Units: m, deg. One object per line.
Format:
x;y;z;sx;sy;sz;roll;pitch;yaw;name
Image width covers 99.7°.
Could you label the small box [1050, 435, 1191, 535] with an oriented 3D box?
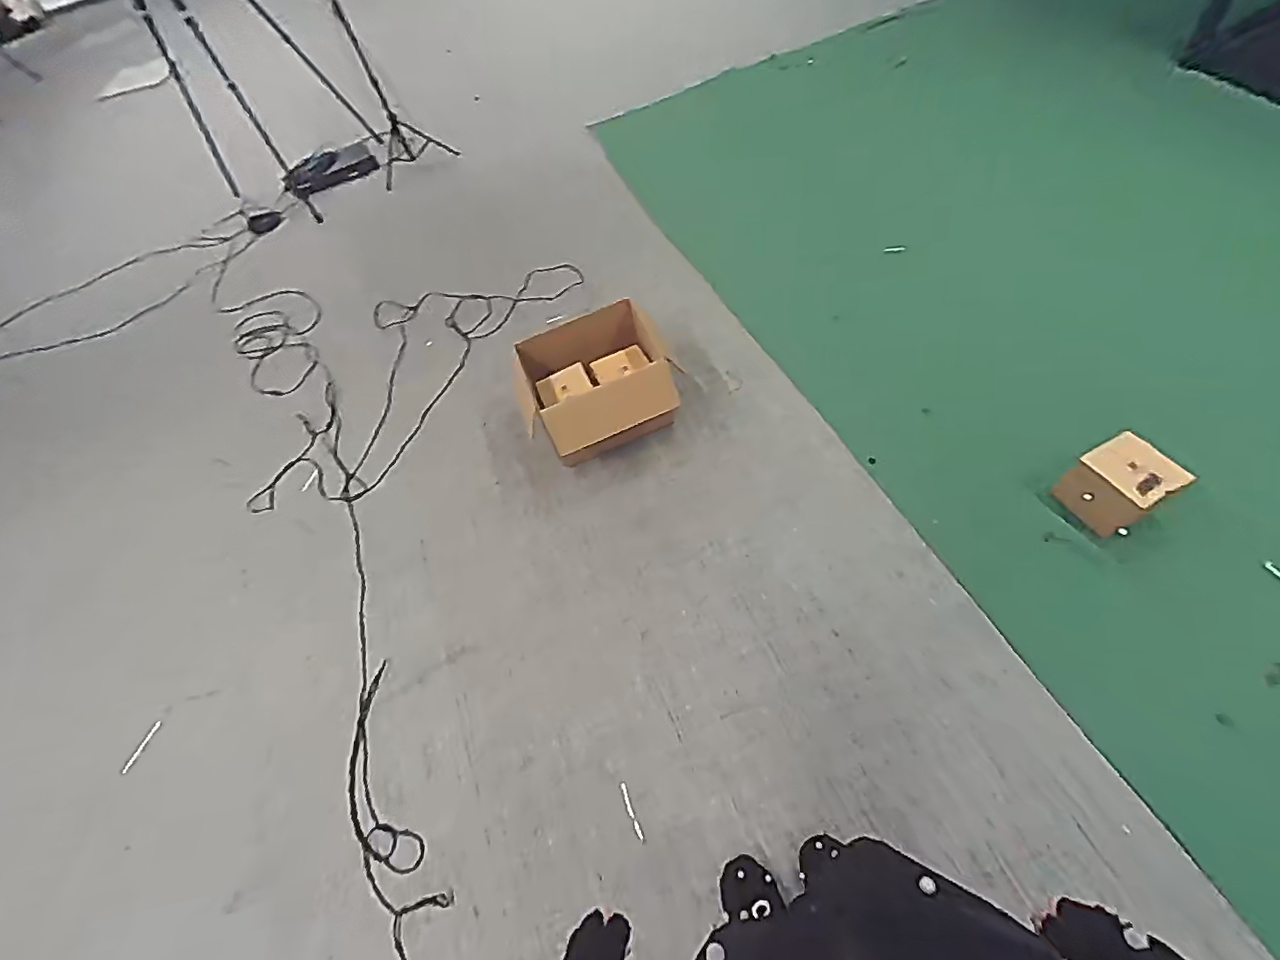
1.228;0.022;1.398;0.168;0.176;0.179;-27;56;-7;small box
